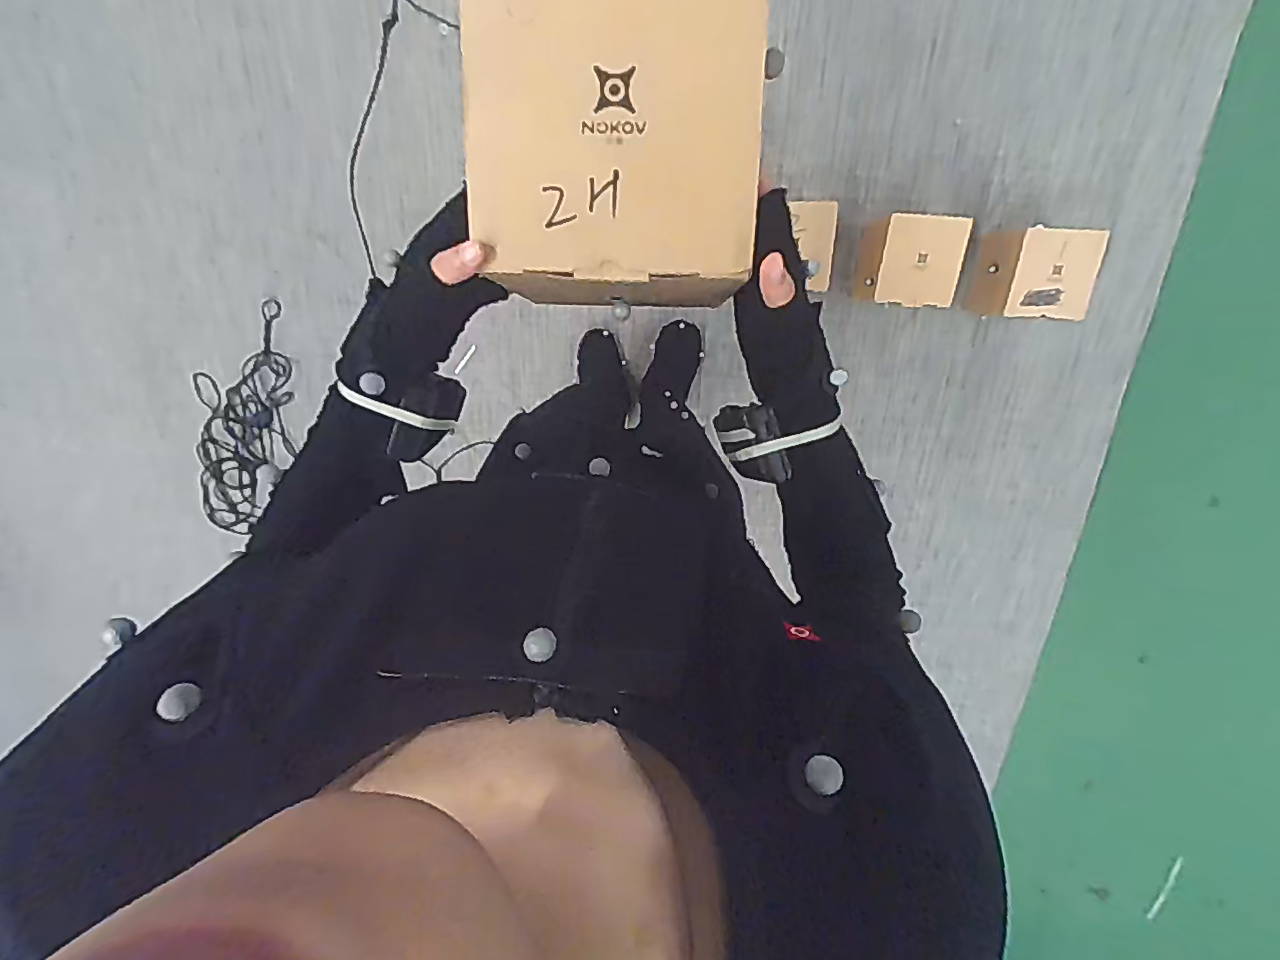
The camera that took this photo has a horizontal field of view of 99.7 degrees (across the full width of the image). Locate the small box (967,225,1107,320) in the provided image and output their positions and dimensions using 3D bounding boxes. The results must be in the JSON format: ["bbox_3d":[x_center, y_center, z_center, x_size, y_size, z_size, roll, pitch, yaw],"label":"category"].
[{"bbox_3d":[0.854,-0.452,1.186,0.168,0.176,0.179,4,110,3],"label":"small box"}]

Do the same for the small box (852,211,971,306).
[{"bbox_3d":[0.587,-0.484,1.195,0.168,0.176,0.179,5,111,2],"label":"small box"}]
